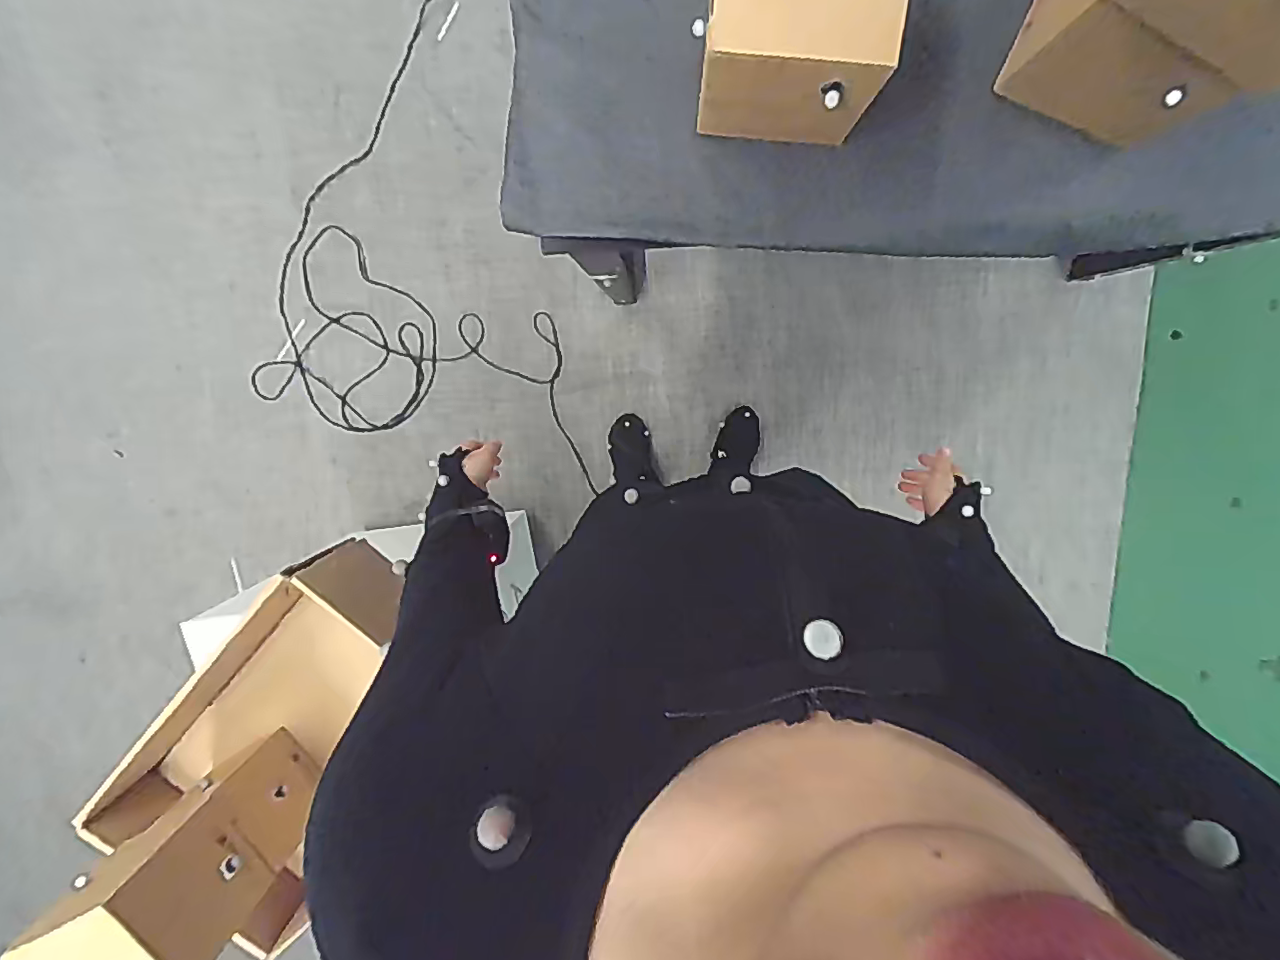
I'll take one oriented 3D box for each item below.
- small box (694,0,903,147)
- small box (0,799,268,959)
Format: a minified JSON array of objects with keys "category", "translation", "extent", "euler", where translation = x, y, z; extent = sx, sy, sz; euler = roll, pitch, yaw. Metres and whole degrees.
[{"category":"small box","translation":[0.155,-0.469,0.559],"extent":[0.179,0.176,0.168],"euler":[6,100,2]},{"category":"small box","translation":[-0.678,0.594,0.749],"extent":[0.179,0.176,0.168],"euler":[-30,101,7]}]
